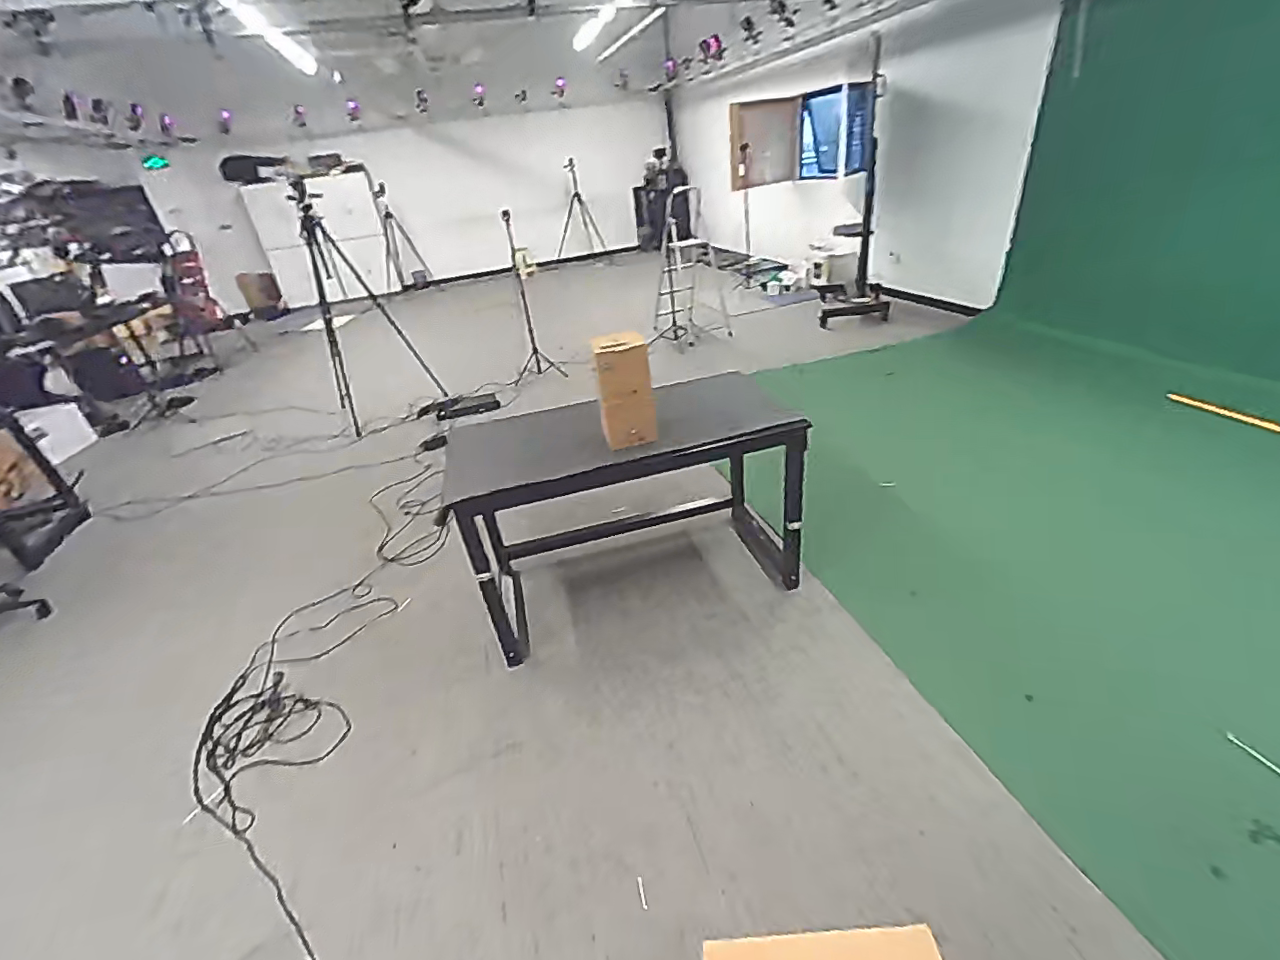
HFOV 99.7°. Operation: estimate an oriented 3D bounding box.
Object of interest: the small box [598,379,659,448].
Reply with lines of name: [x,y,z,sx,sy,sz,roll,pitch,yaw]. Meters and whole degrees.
small box: [-0.040,-0.226,1.838,0.168,0.176,0.179,-13,30,-8]
